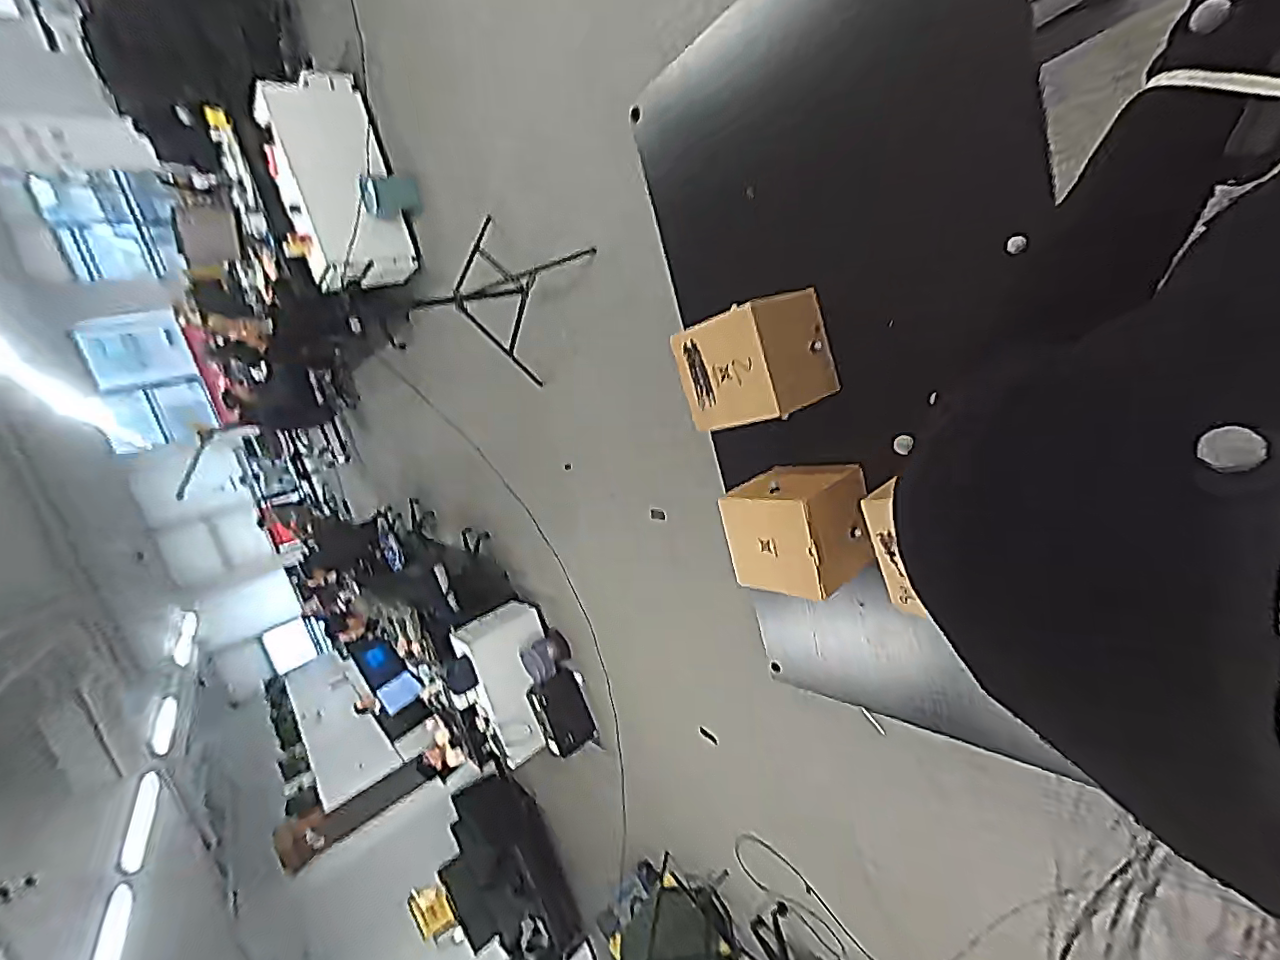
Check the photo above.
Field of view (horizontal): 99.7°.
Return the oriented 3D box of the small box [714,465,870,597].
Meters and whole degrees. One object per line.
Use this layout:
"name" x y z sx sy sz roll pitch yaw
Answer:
"small box" 0.259 0.076 0.920 0.179 0.176 0.168 0 109 52
